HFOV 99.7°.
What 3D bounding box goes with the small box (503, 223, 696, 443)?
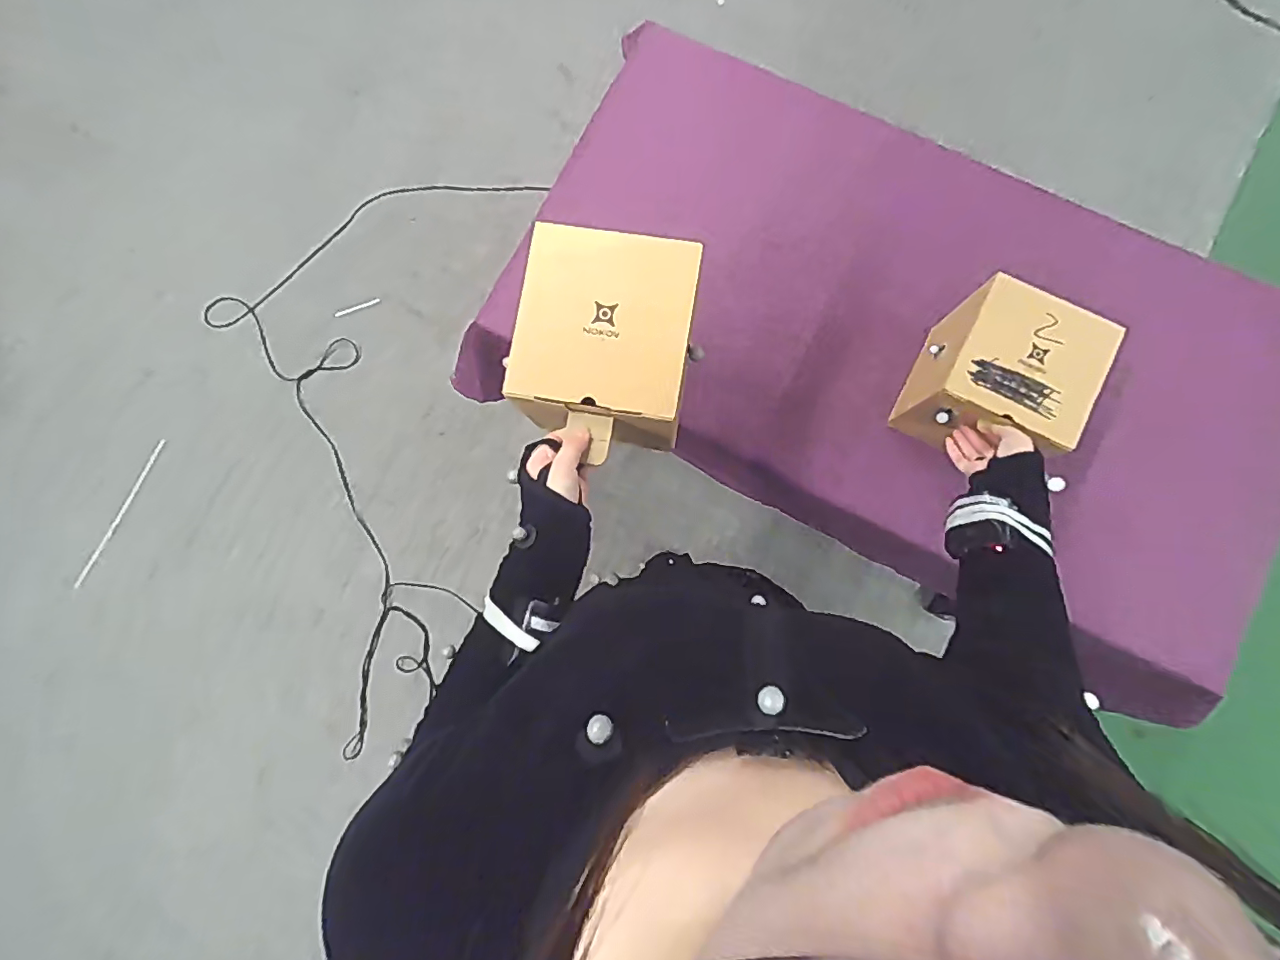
[{"bbox_3d":[-0.036,-0.149,0.603,0.168,0.176,0.179,9,85,3],"label":"small box"}]
